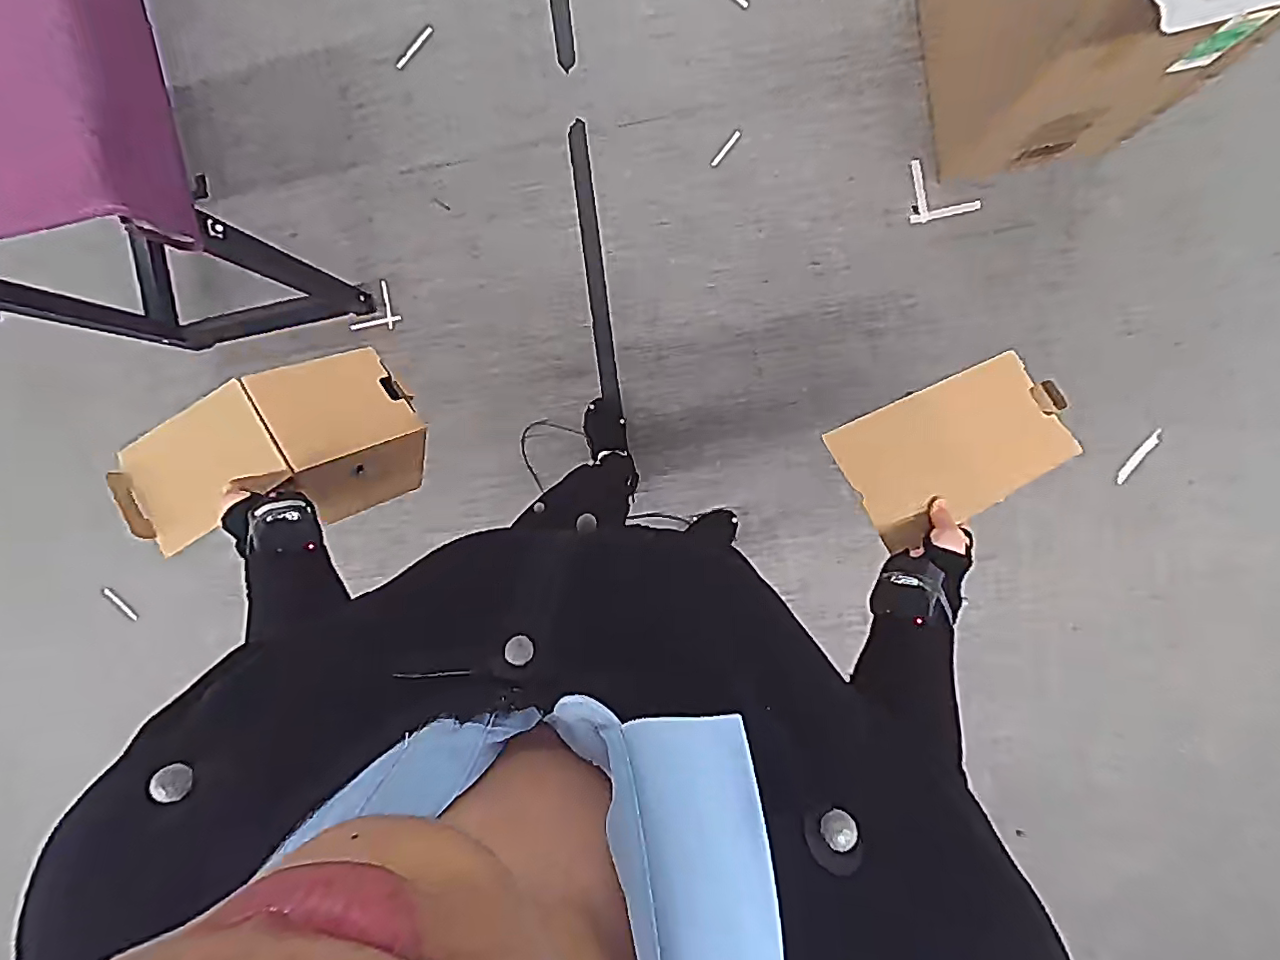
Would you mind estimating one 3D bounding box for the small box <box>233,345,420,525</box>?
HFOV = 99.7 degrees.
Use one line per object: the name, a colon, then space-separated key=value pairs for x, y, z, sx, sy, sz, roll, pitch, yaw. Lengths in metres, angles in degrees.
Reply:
small box: x=-0.439 y=-0.062 z=0.781 sx=0.179 sy=0.176 sz=0.168 roll=-28 pitch=74 yaw=-36
